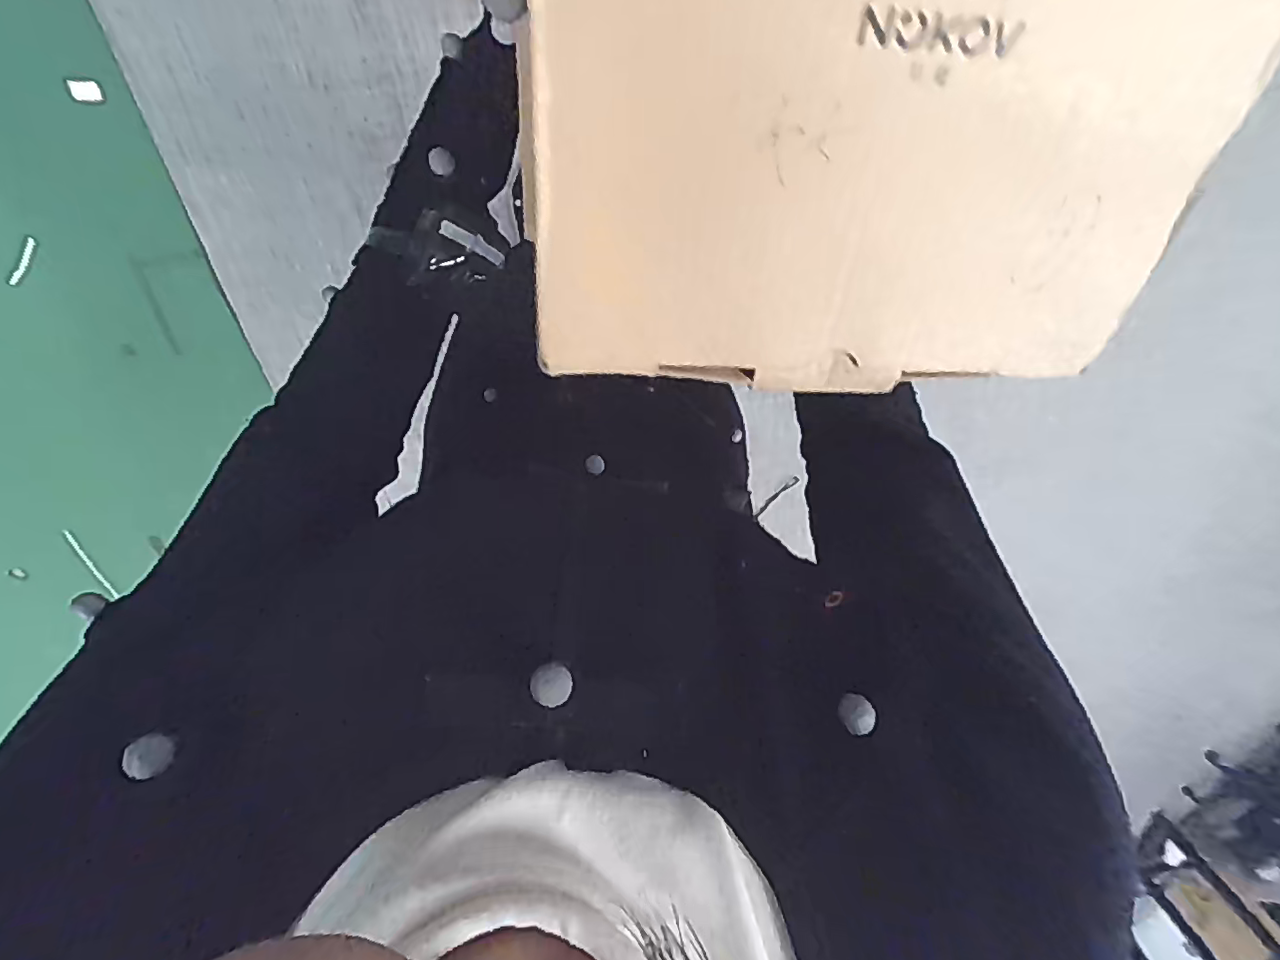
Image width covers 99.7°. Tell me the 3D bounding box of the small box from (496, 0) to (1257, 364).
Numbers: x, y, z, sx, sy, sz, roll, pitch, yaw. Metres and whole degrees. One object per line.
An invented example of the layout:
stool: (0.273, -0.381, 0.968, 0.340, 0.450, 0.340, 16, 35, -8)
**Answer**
small box: (0.044, -0.155, 0.171, 0.168, 0.176, 0.179, -1, 128, -9)
